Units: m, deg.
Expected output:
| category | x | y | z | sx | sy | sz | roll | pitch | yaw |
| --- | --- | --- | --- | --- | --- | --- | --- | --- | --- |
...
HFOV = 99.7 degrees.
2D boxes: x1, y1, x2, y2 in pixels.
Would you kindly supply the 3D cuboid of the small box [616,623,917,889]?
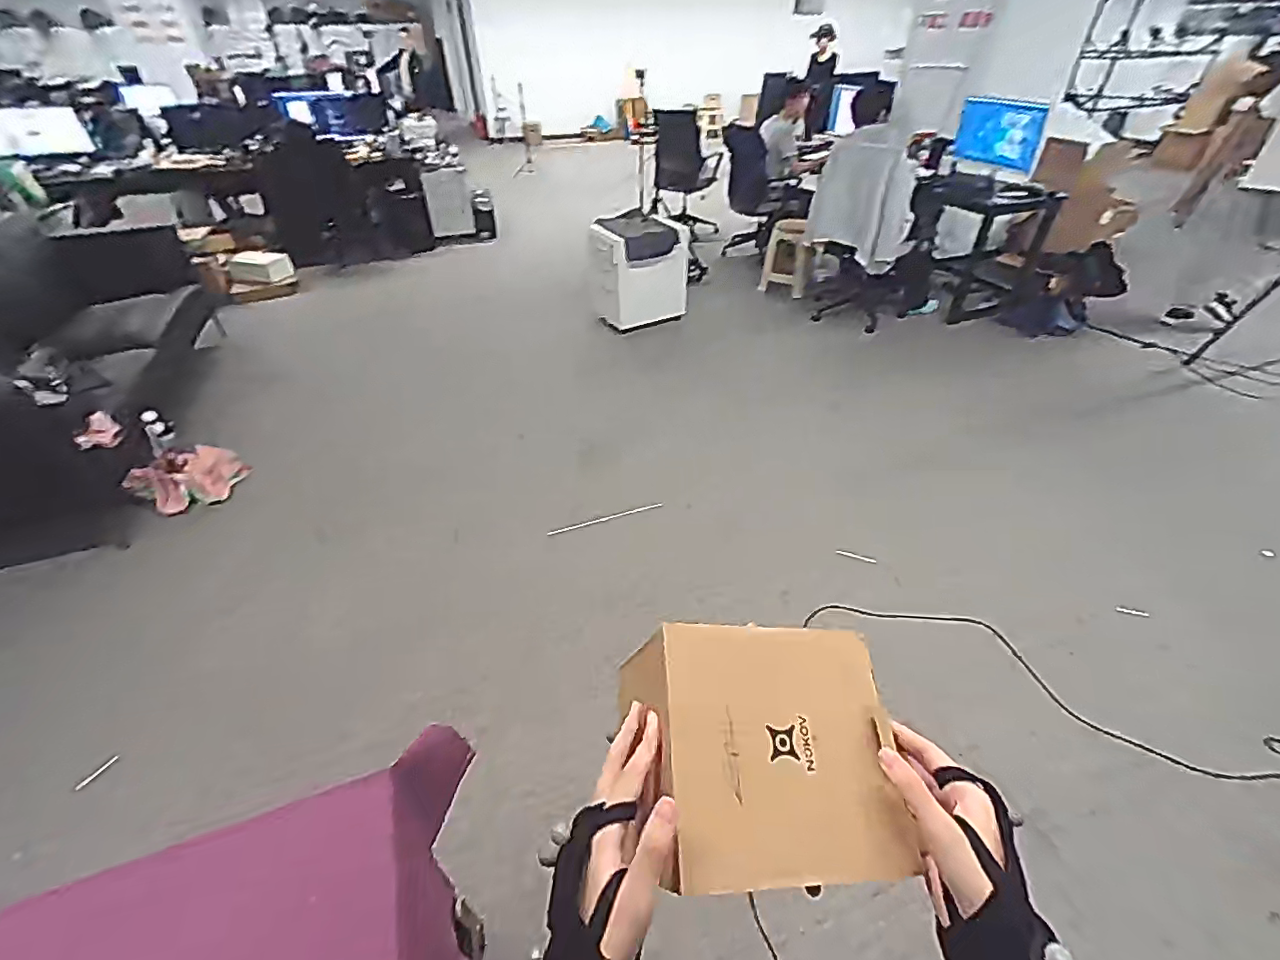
| category | x | y | z | sx | sy | sz | roll | pitch | yaw |
| --- | --- | --- | --- | --- | --- | --- | --- | --- | --- |
| small box | 0.084 | 0.228 | 0.453 | 0.179 | 0.176 | 0.168 | 6 | 58 | -13 |
